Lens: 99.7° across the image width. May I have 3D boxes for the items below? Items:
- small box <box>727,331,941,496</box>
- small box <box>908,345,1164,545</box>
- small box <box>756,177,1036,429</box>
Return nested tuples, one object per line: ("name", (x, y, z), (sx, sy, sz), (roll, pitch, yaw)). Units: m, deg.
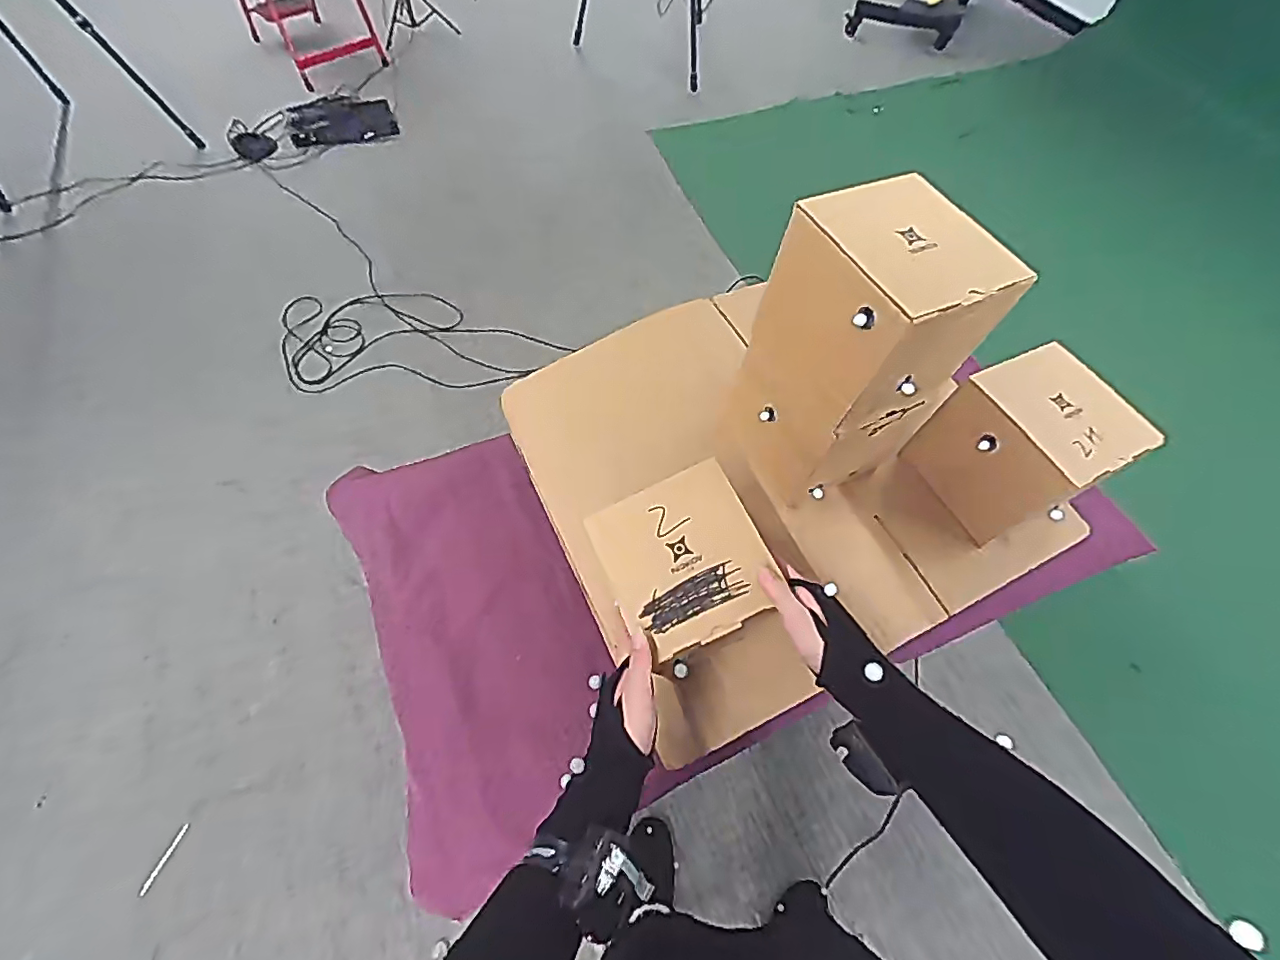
("small box", (0.241, -0.098, 0.718), (0.168, 0.176, 0.179), (-21, 63, -19))
("small box", (0.501, -0.043, 0.716), (0.168, 0.176, 0.179), (-21, 64, -17))
("small box", (0.252, -0.186, 0.582), (0.168, 0.176, 0.179), (-22, 65, -19))
